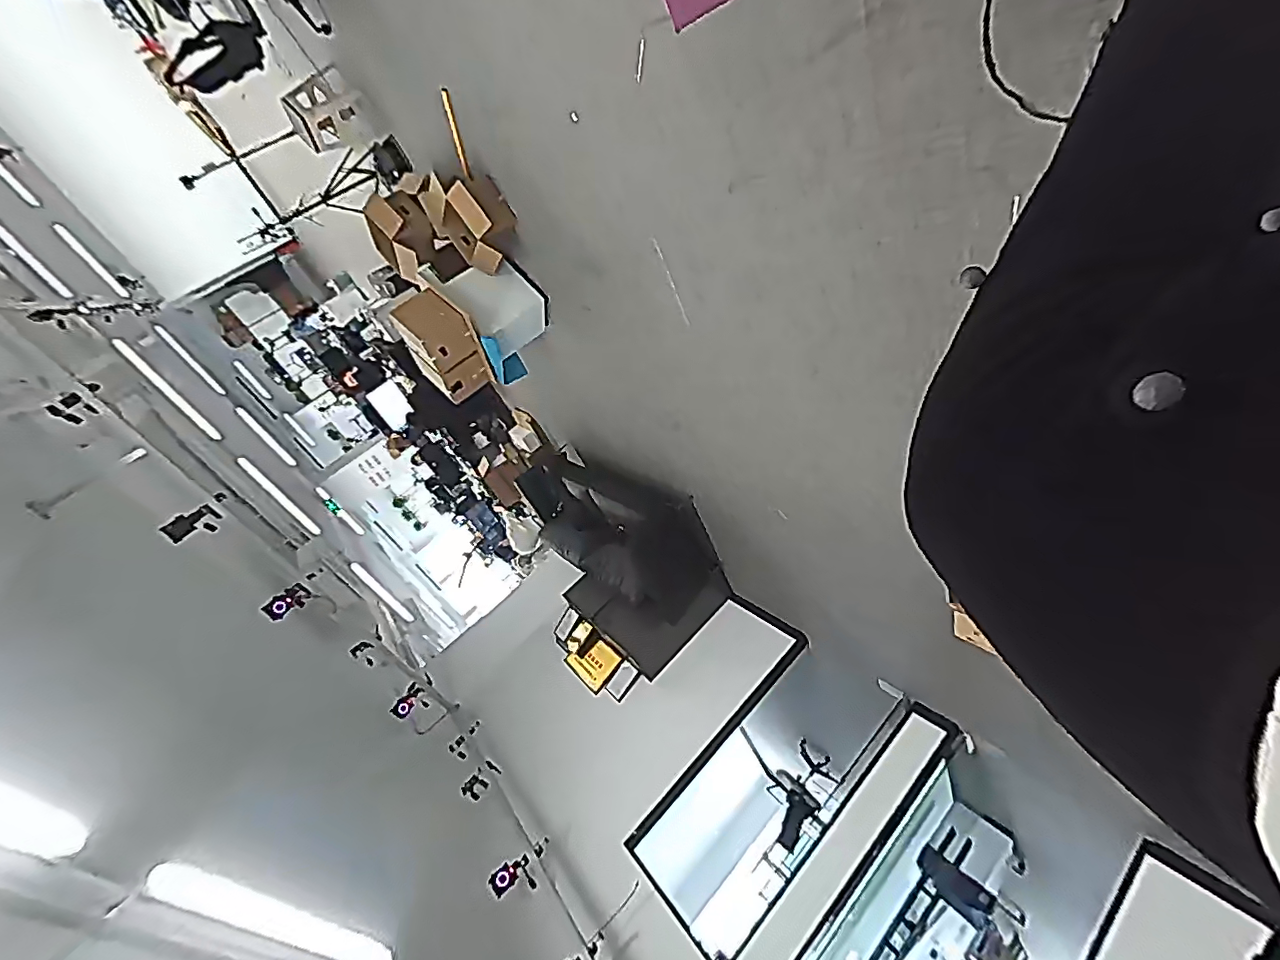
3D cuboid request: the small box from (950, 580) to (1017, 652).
[{"bbox_3d":[1.321,0.517,2.079,0.168,0.176,0.179,26,149,46],"label":"small box"}]
